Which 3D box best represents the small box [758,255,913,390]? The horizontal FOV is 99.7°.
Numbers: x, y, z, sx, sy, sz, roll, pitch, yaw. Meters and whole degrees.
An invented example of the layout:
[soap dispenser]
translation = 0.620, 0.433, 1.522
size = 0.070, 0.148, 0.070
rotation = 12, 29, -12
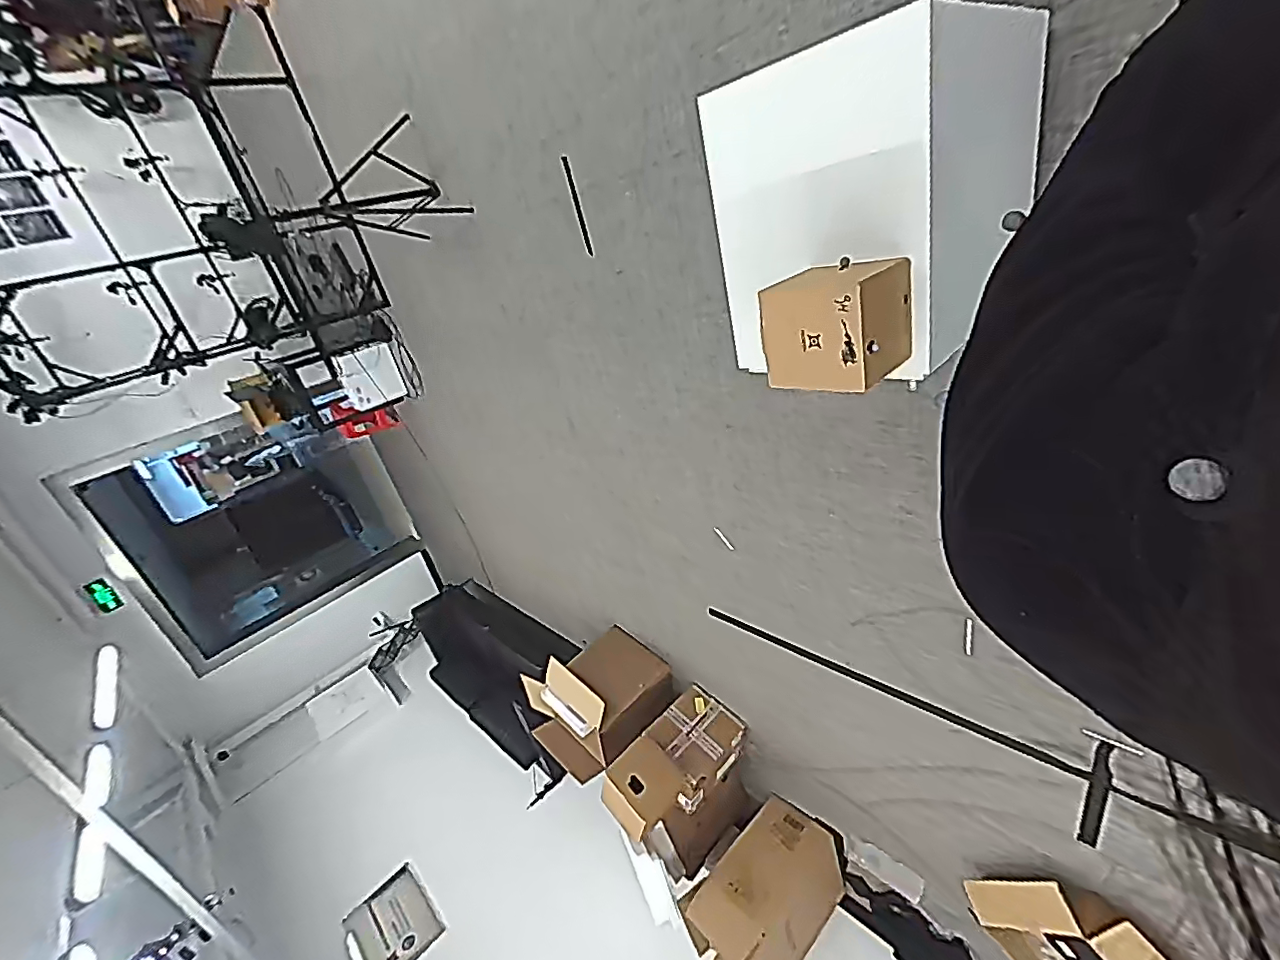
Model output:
[small box]
translation = 0.321, -0.259, 0.886
size = 0.179, 0.176, 0.168
rotation = 15, 128, 47
